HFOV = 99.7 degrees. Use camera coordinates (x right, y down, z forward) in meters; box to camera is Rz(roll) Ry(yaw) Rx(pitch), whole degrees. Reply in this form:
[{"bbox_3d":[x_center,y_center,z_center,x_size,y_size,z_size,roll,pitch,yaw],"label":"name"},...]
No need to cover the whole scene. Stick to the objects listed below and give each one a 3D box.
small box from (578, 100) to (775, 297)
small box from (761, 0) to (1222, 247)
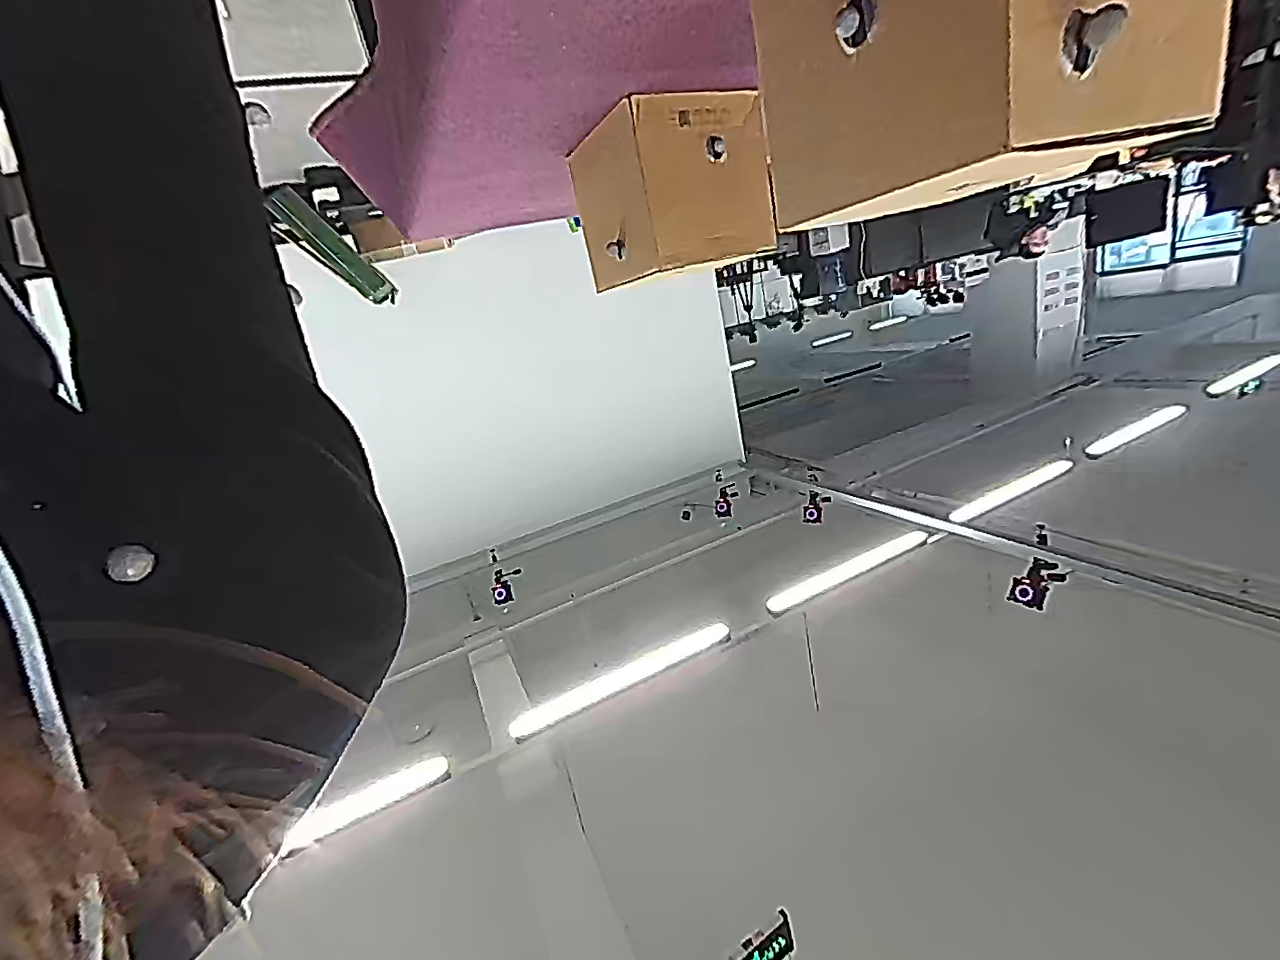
[{"bbox_3d":[0.038,-0.330,0.653,0.168,0.176,0.179,-21,-162,-23],"label":"small box"},{"bbox_3d":[0.192,-0.255,0.320,0.179,0.176,0.168,-19,-161,-19],"label":"small box"}]
